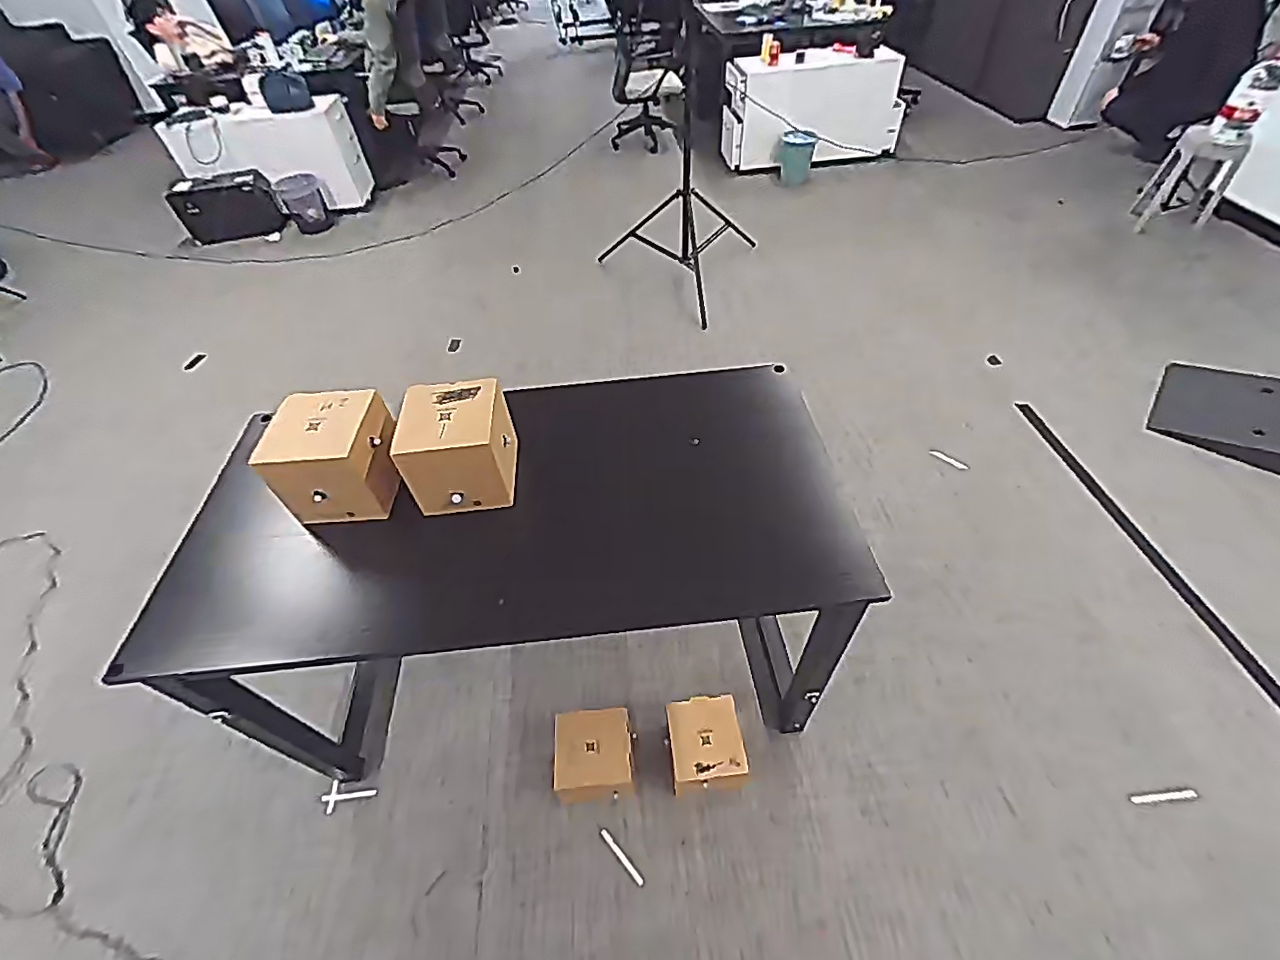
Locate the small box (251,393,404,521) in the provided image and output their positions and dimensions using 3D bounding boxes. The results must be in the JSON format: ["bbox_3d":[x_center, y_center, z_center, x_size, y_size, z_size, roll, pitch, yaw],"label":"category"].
[{"bbox_3d":[-0.553,-0.036,0.993,0.168,0.176,0.179,-4,48,0],"label":"small box"}]

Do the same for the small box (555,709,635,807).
[{"bbox_3d":[-0.105,0.674,1.307,0.179,0.176,0.168,-7,48,-1],"label":"small box"}]

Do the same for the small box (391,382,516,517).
[{"bbox_3d":[-0.329,-0.055,0.993,0.168,0.176,0.179,-7,50,-2],"label":"small box"}]

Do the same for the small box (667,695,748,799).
[{"bbox_3d":[0.156,0.647,1.308,0.168,0.176,0.179,-7,48,-1],"label":"small box"}]
